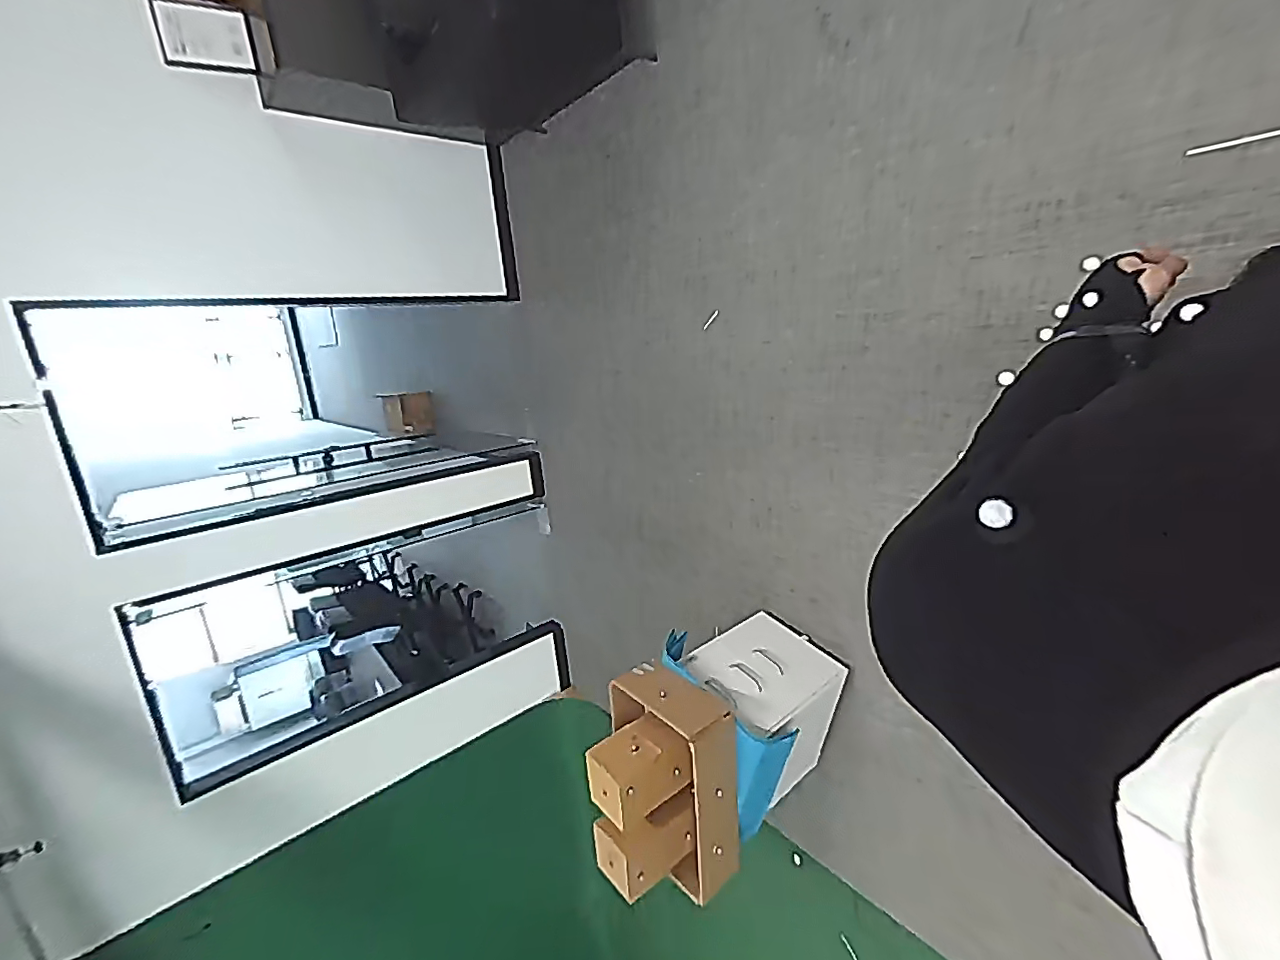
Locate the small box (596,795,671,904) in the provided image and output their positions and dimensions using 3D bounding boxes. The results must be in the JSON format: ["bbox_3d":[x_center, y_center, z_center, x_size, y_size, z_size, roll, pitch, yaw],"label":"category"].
[{"bbox_3d":[-0.017,1.124,1.659,0.168,0.176,0.179,14,111,49],"label":"small box"}]
